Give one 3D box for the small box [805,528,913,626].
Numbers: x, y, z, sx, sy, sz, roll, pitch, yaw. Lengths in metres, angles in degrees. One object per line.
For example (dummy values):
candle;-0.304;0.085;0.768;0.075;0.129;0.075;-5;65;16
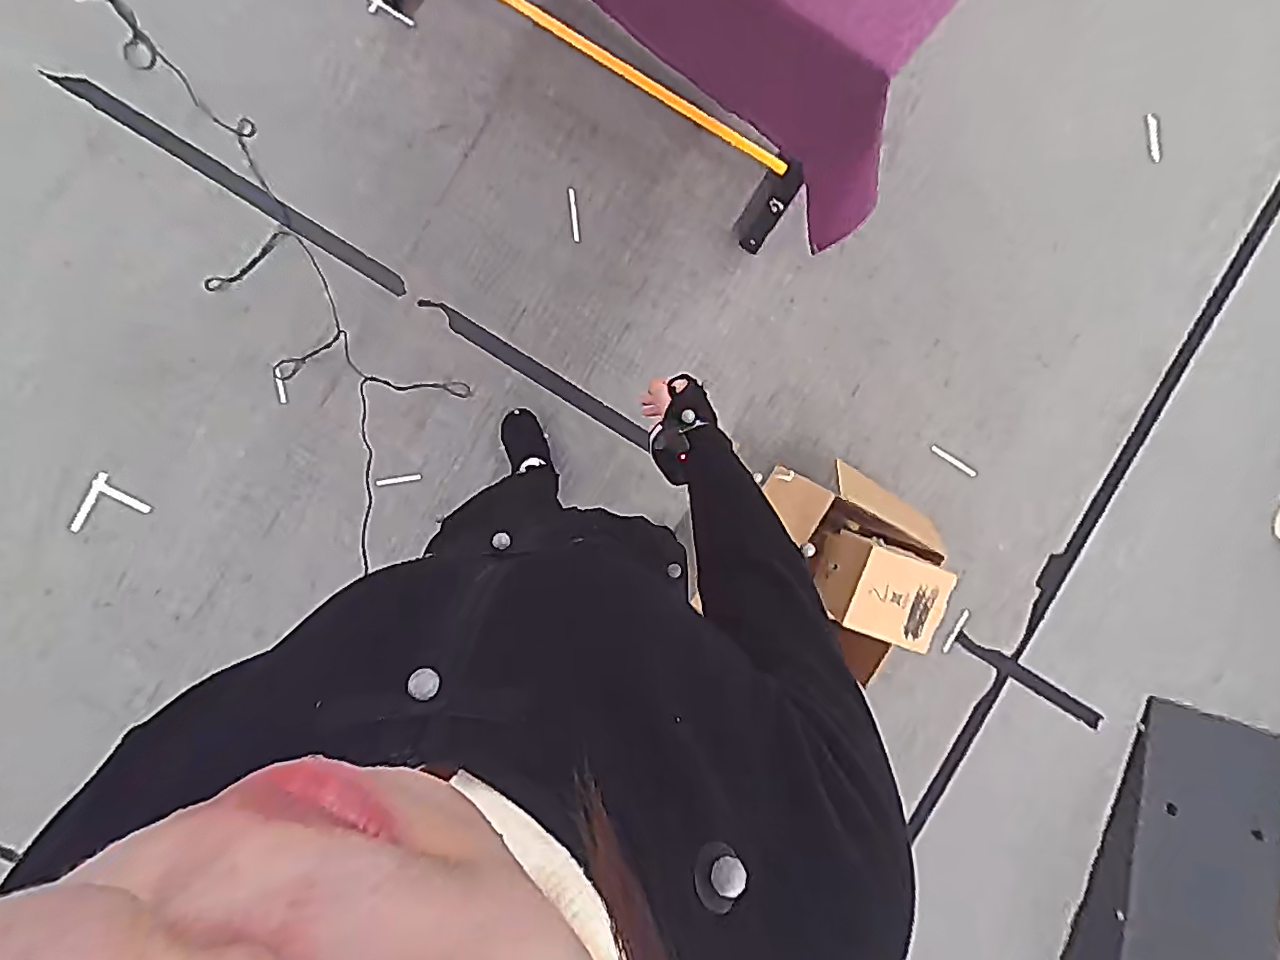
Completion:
small box;0.505;0.219;1.272;0.168;0.176;0.179;10;95;-1
